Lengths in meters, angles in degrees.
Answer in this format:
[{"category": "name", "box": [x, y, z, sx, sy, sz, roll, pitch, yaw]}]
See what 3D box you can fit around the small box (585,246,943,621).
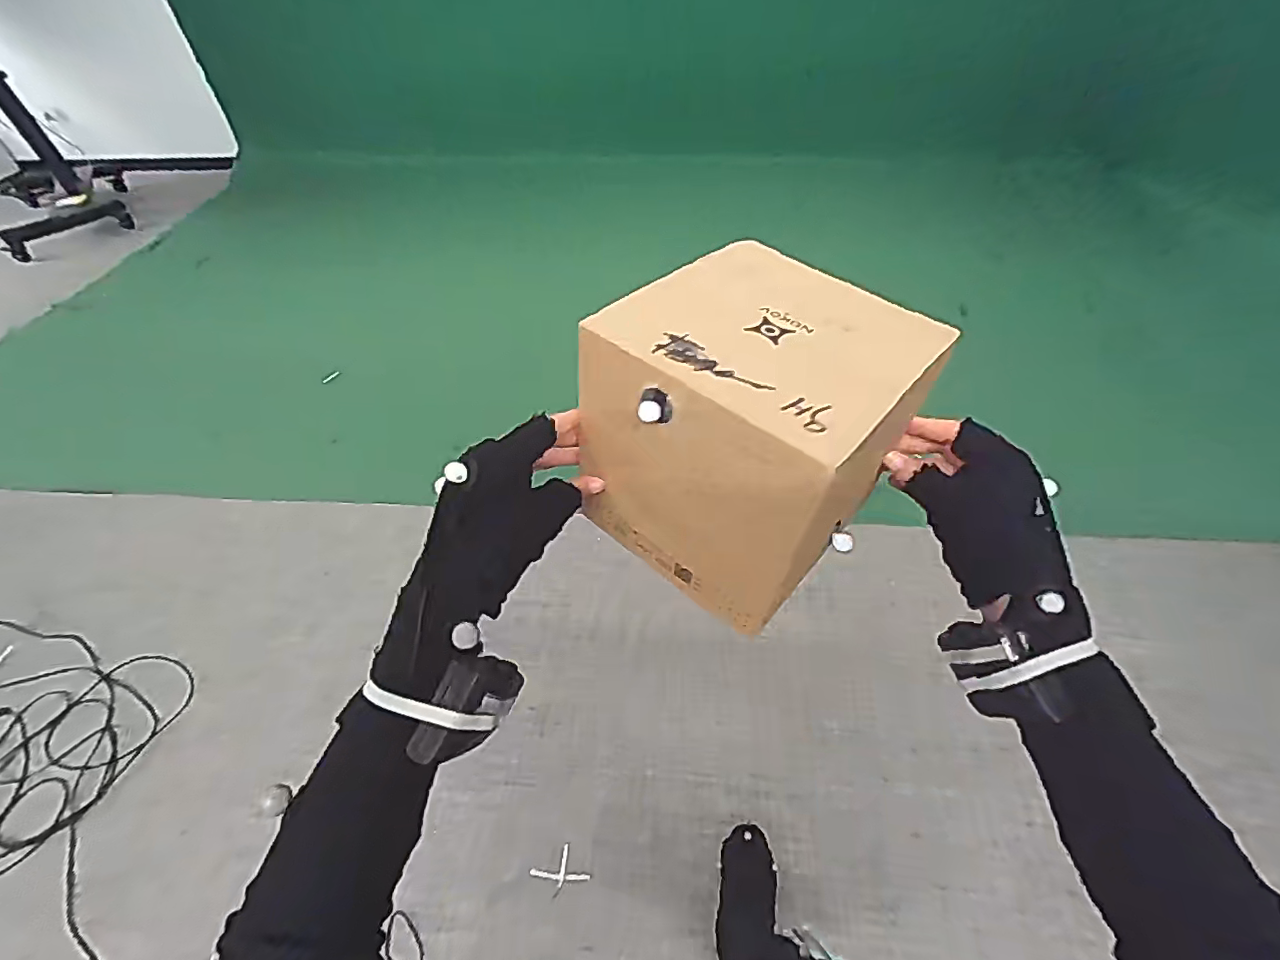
[{"category": "small box", "box": [0.073, -0.037, 0.392, 0.168, 0.176, 0.179, 35, 54, 25]}]
